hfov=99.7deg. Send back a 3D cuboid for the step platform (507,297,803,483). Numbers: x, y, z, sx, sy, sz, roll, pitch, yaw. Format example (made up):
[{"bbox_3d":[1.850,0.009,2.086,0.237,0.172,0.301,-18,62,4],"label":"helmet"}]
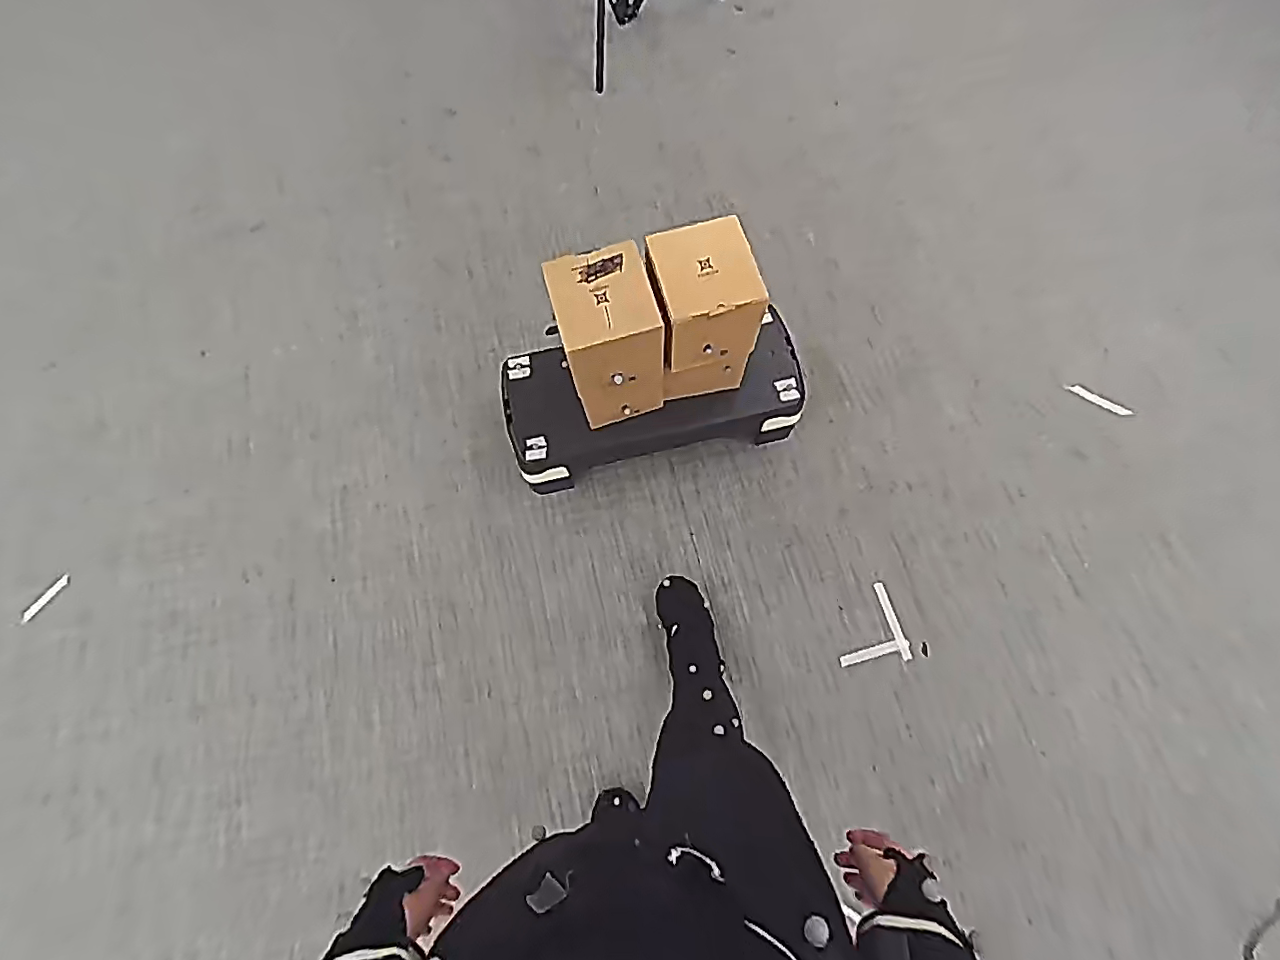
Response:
[{"bbox_3d":[0.033,-0.215,1.298,0.684,0.204,0.286,-14,72,-2],"label":"step platform"}]
